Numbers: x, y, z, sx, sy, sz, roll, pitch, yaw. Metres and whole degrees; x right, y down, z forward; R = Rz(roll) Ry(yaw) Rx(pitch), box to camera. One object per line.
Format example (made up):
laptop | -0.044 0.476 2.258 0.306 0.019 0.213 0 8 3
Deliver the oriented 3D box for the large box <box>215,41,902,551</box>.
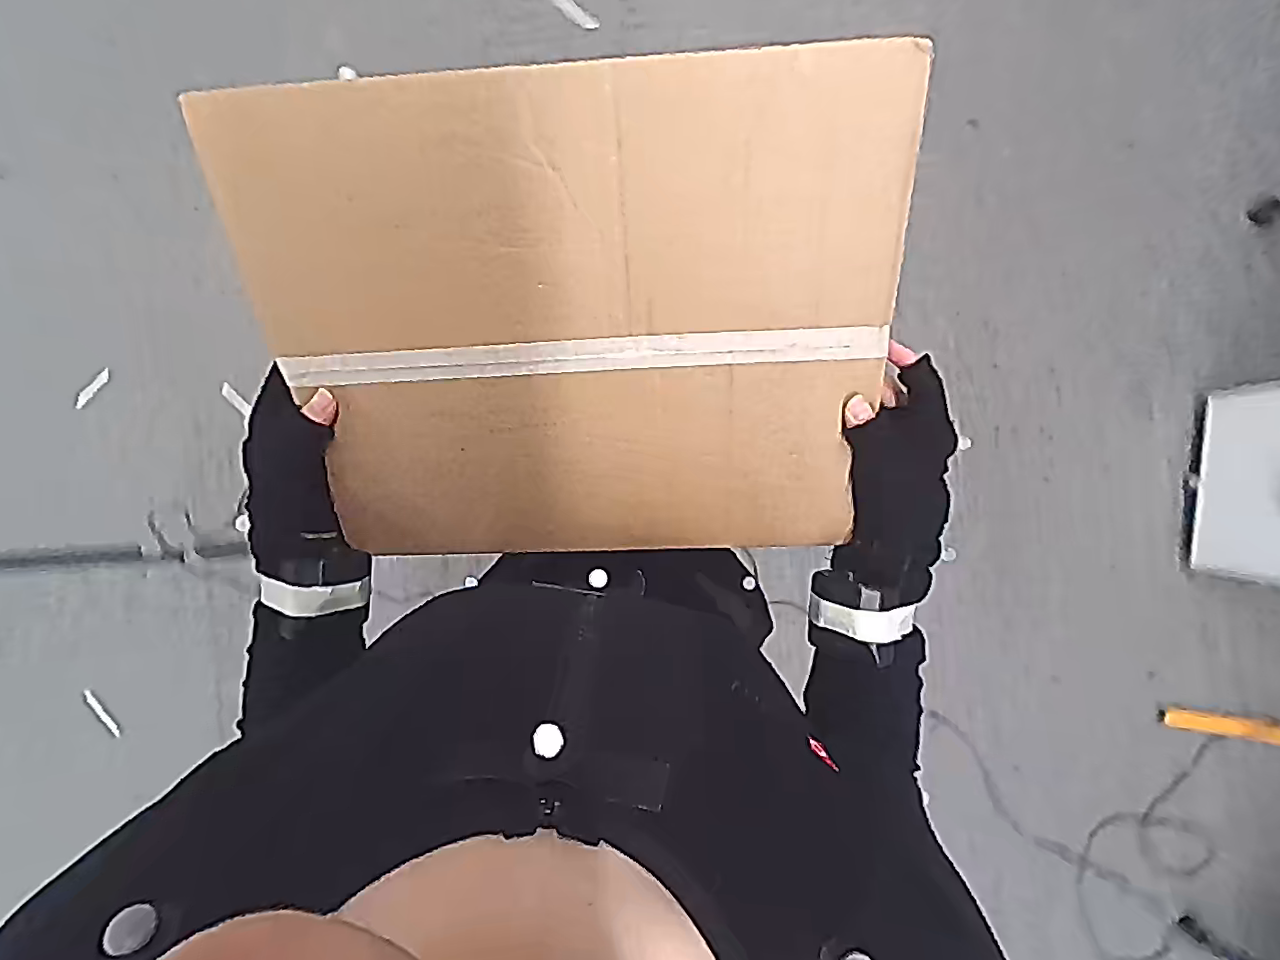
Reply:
large box | -0.040 -0.156 0.503 0.408 0.320 0.320 -3 119 3
